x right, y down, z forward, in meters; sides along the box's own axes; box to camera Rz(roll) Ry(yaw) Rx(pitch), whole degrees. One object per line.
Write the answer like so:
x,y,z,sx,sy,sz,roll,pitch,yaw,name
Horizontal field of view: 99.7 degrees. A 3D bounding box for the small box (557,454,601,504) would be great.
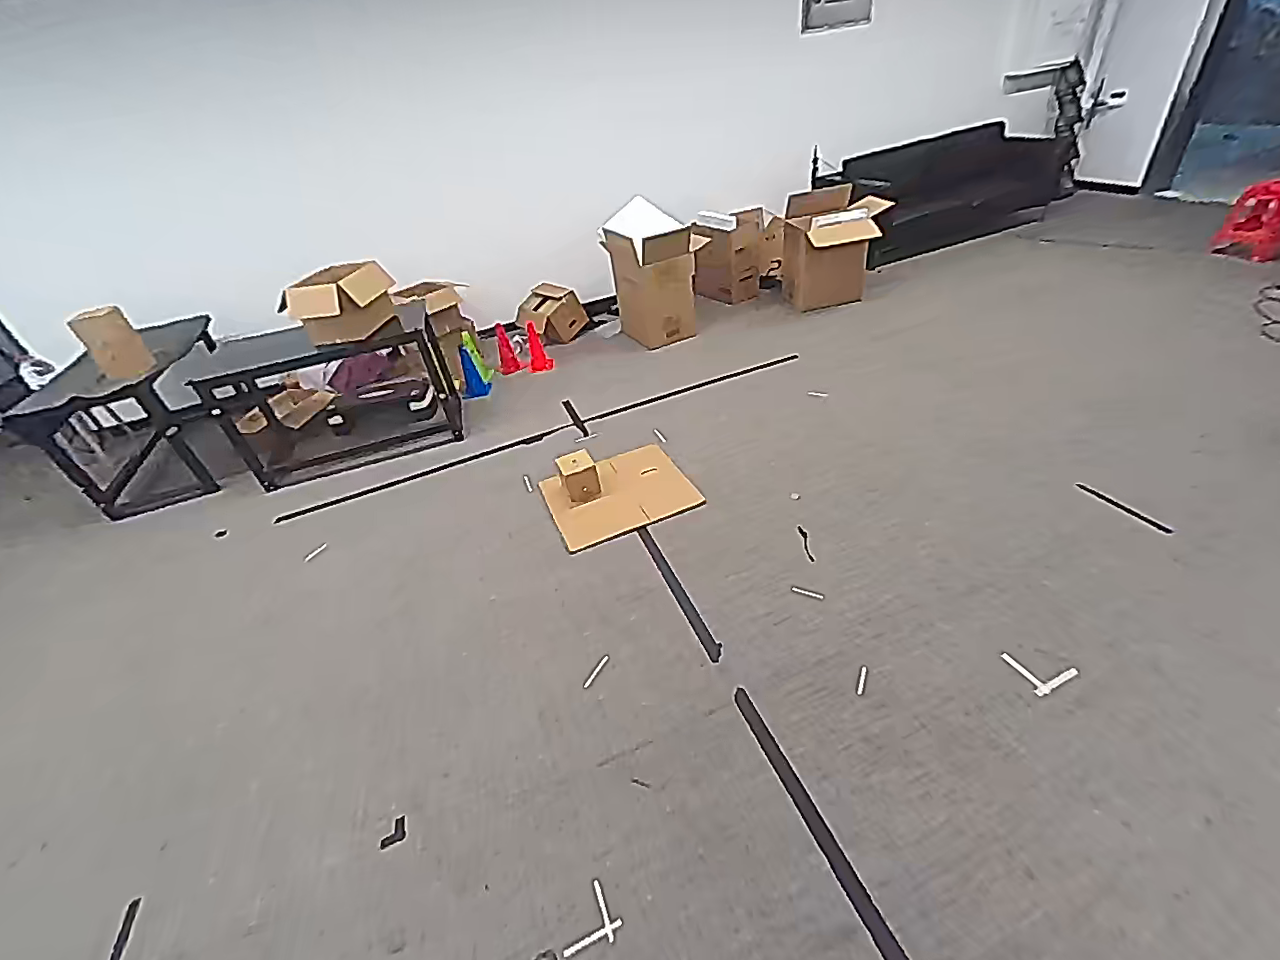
-0.311,-0.004,2.756,0.168,0.176,0.179,-21,38,-14,small box
